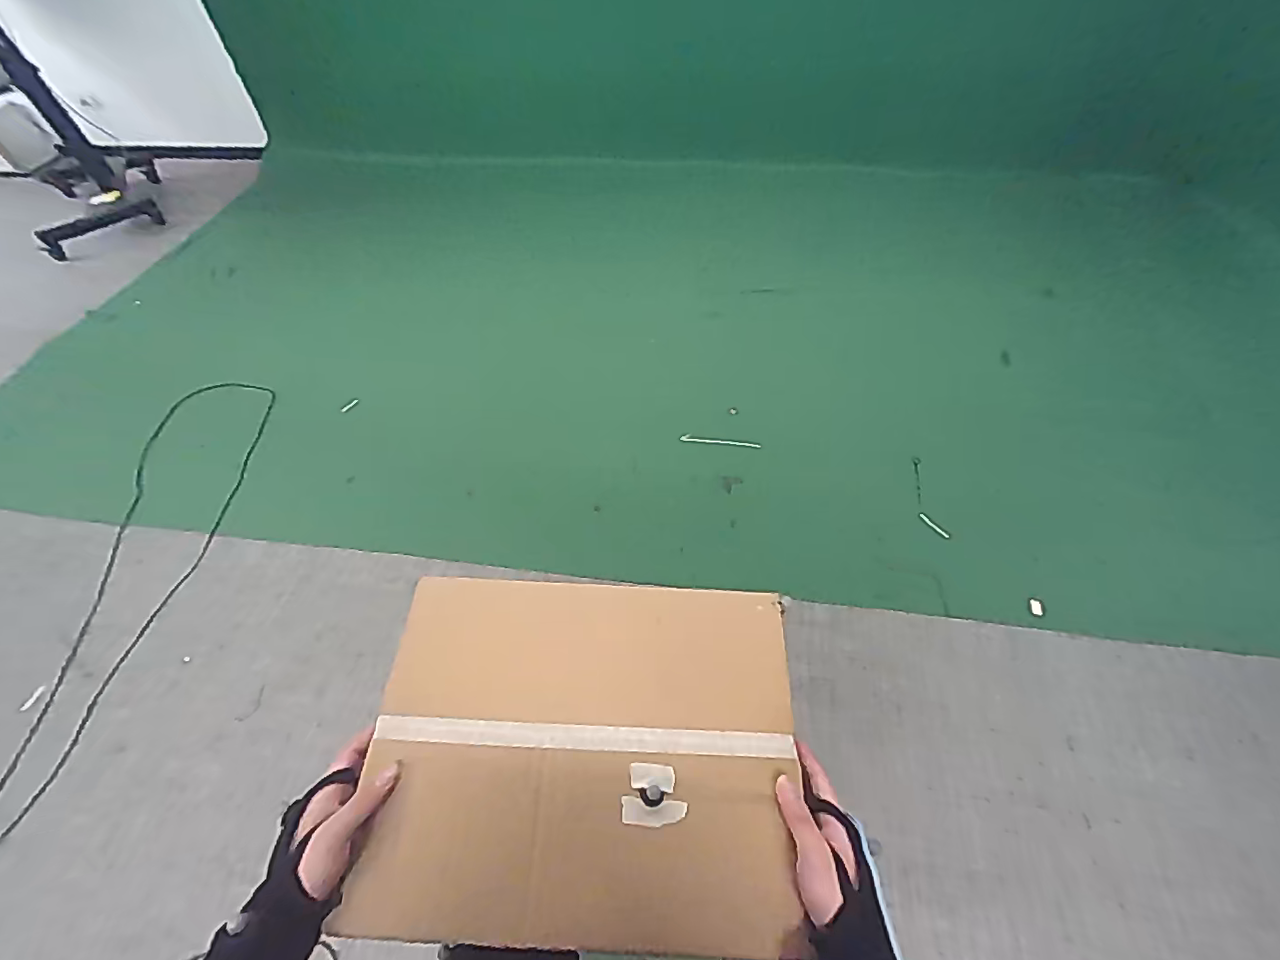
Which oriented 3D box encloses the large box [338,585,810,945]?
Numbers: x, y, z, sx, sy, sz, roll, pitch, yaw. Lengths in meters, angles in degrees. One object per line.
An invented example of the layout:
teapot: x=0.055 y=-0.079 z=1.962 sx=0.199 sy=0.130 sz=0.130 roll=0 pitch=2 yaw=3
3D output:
large box: x=-0.056 y=0.338 z=0.654 sx=0.408 sy=0.320 sz=0.320 roll=3 pitch=56 yaw=0
